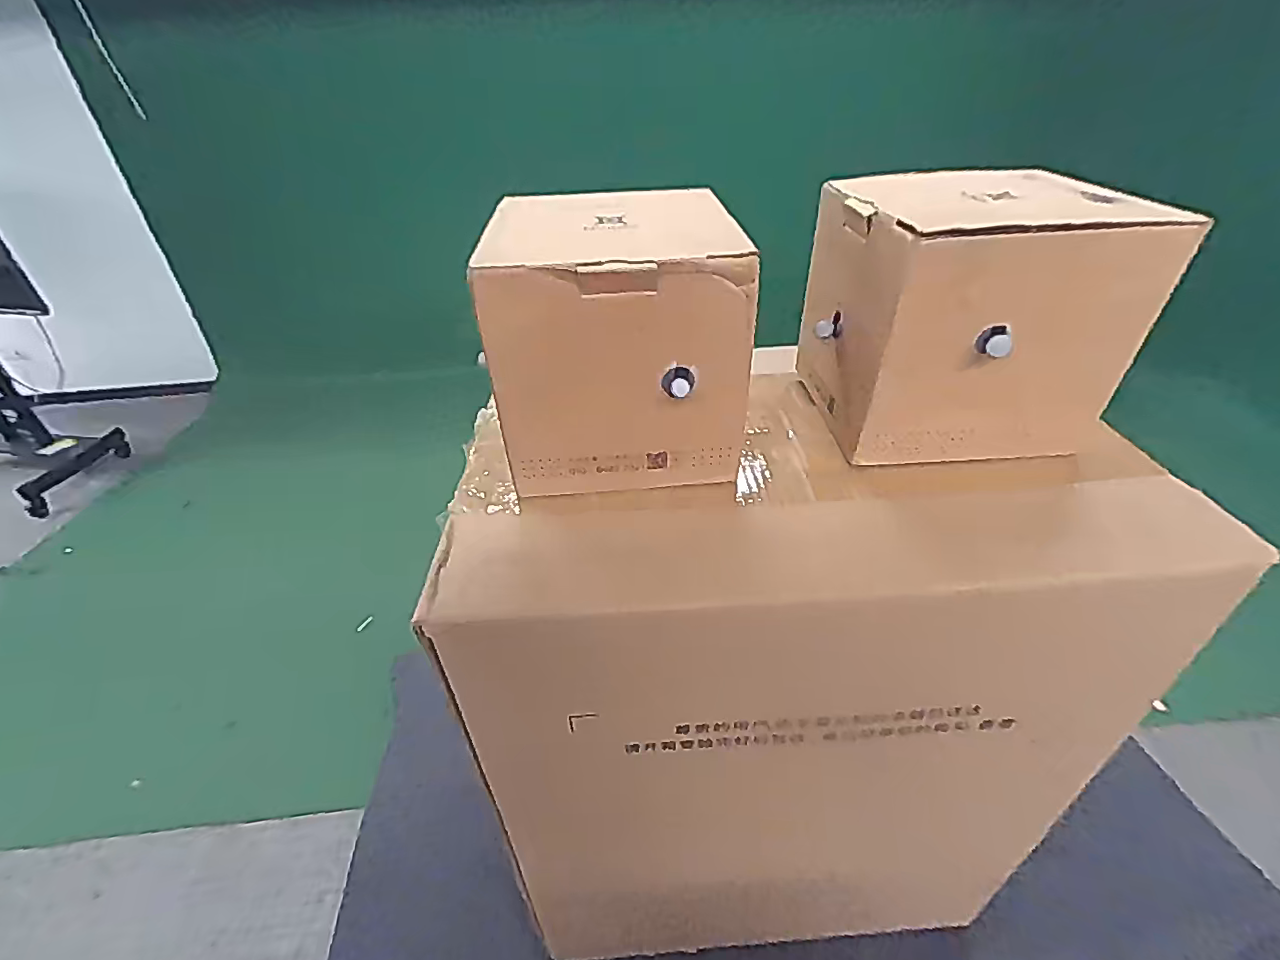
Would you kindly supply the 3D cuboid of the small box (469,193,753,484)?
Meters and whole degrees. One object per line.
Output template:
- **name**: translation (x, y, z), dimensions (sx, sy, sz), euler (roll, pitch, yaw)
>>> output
- **small box**: translation (-0.018, -0.108, 0.416), dimensions (0.168, 0.176, 0.179), euler (-3, 38, -3)

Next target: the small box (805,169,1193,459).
- **small box**: translation (0.237, -0.129, 0.423), dimensions (0.179, 0.176, 0.168), euler (-4, 39, 0)
